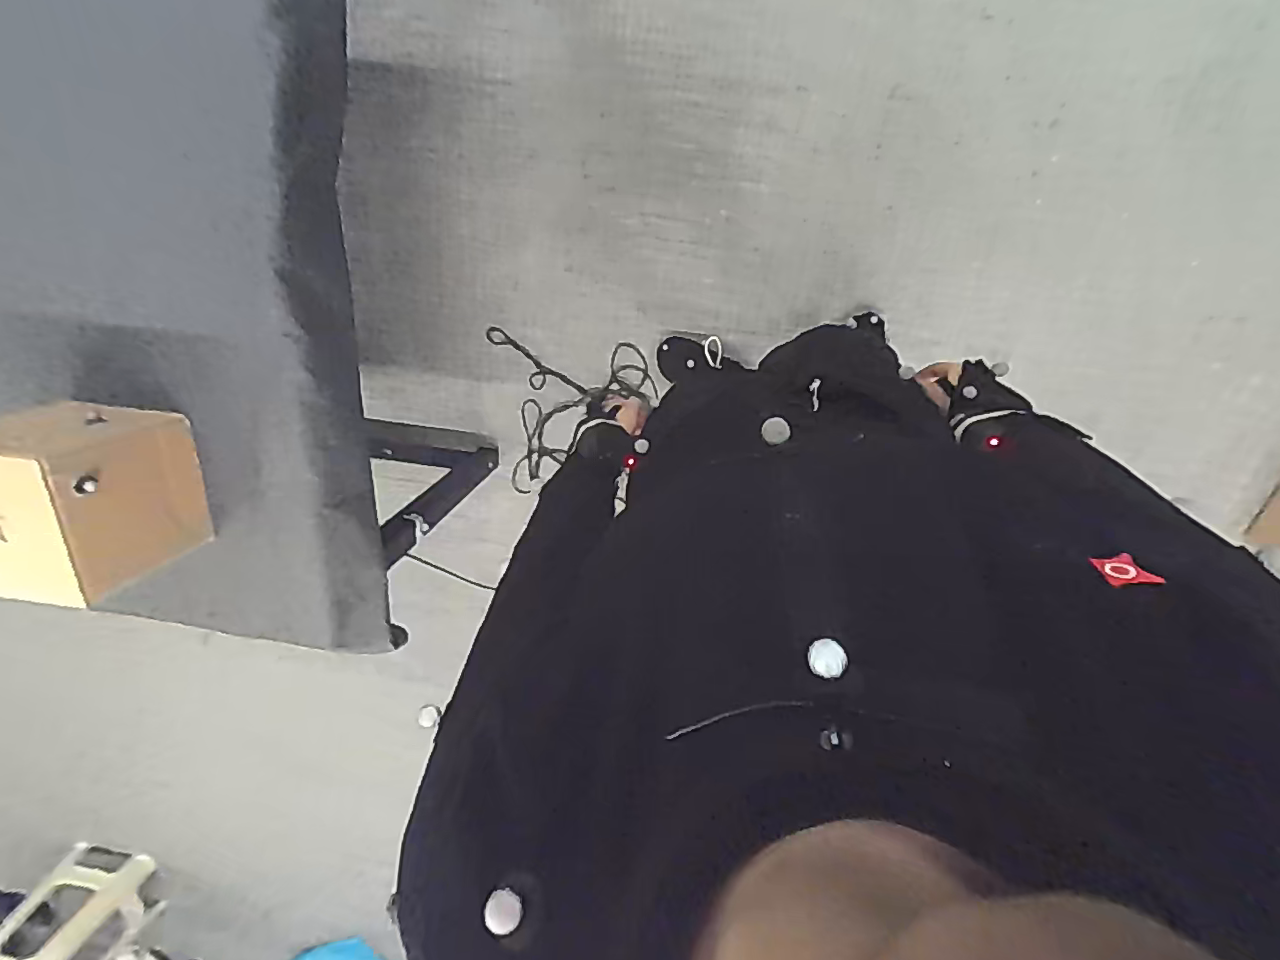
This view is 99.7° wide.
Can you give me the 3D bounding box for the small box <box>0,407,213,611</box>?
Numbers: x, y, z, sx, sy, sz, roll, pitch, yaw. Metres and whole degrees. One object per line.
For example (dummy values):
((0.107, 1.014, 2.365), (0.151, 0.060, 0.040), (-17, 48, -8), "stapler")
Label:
((-0.651, 0.024, 0.633), (0.168, 0.176, 0.179), (6, 111, 5), "small box")
